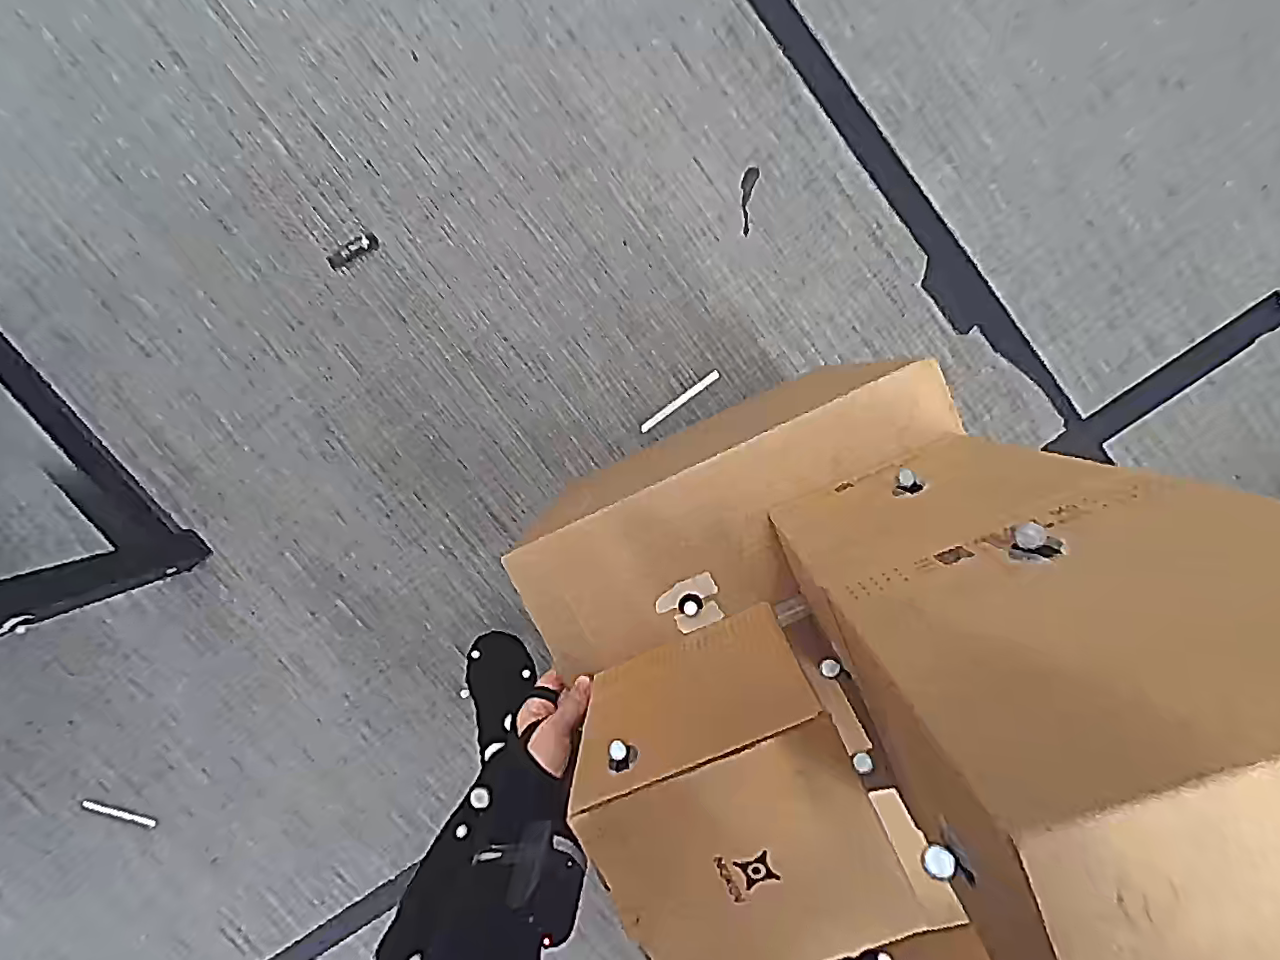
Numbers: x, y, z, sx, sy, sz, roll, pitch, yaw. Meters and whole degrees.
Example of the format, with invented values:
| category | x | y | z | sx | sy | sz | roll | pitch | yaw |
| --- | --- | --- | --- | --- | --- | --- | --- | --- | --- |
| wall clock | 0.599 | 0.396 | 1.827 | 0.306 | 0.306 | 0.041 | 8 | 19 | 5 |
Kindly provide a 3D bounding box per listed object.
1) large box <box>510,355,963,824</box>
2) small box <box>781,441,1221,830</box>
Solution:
| category | x | y | z | sx | sy | sz | roll | pitch | yaw |
| --- | --- | --- | --- | --- | --- | --- | --- | --- | --- |
| large box | 0.133 | 0.090 | 0.626 | 0.408 | 0.320 | 0.320 | -26 | 96 | 8 |
| small box | 0.212 | 0.081 | 0.370 | 0.168 | 0.176 | 0.179 | -22 | 99 | 8 |
